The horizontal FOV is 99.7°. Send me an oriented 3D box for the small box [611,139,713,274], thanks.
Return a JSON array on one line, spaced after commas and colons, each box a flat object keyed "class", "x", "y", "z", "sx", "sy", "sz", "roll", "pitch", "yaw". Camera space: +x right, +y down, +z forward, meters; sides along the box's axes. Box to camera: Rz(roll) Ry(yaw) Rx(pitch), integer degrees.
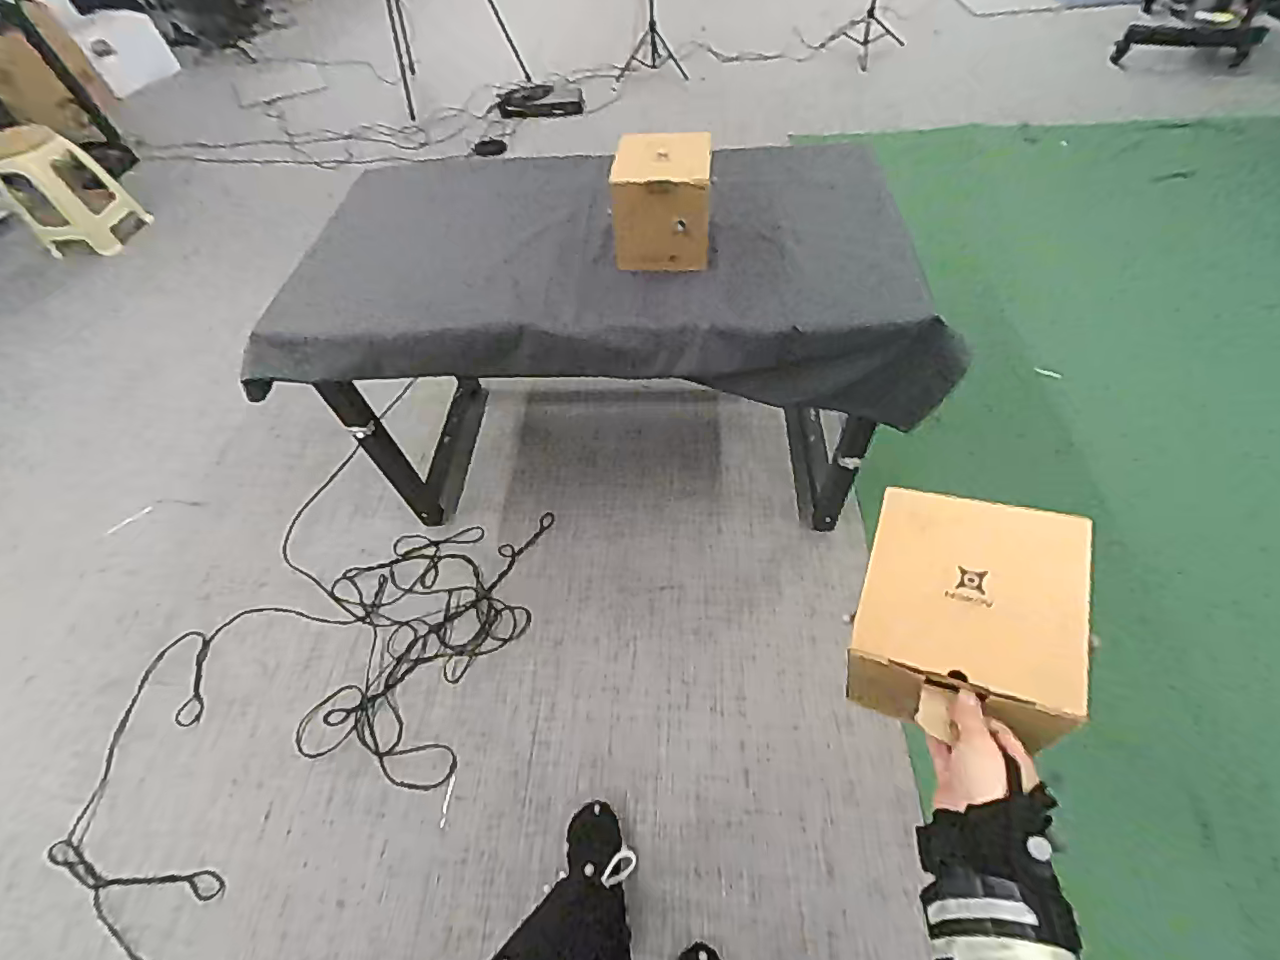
[{"class": "small box", "x": 0.047, "y": -0.498, "z": 0.995, "sx": 0.168, "sy": 0.176, "sz": 0.179, "roll": 3, "pitch": 54, "yaw": 6}]
